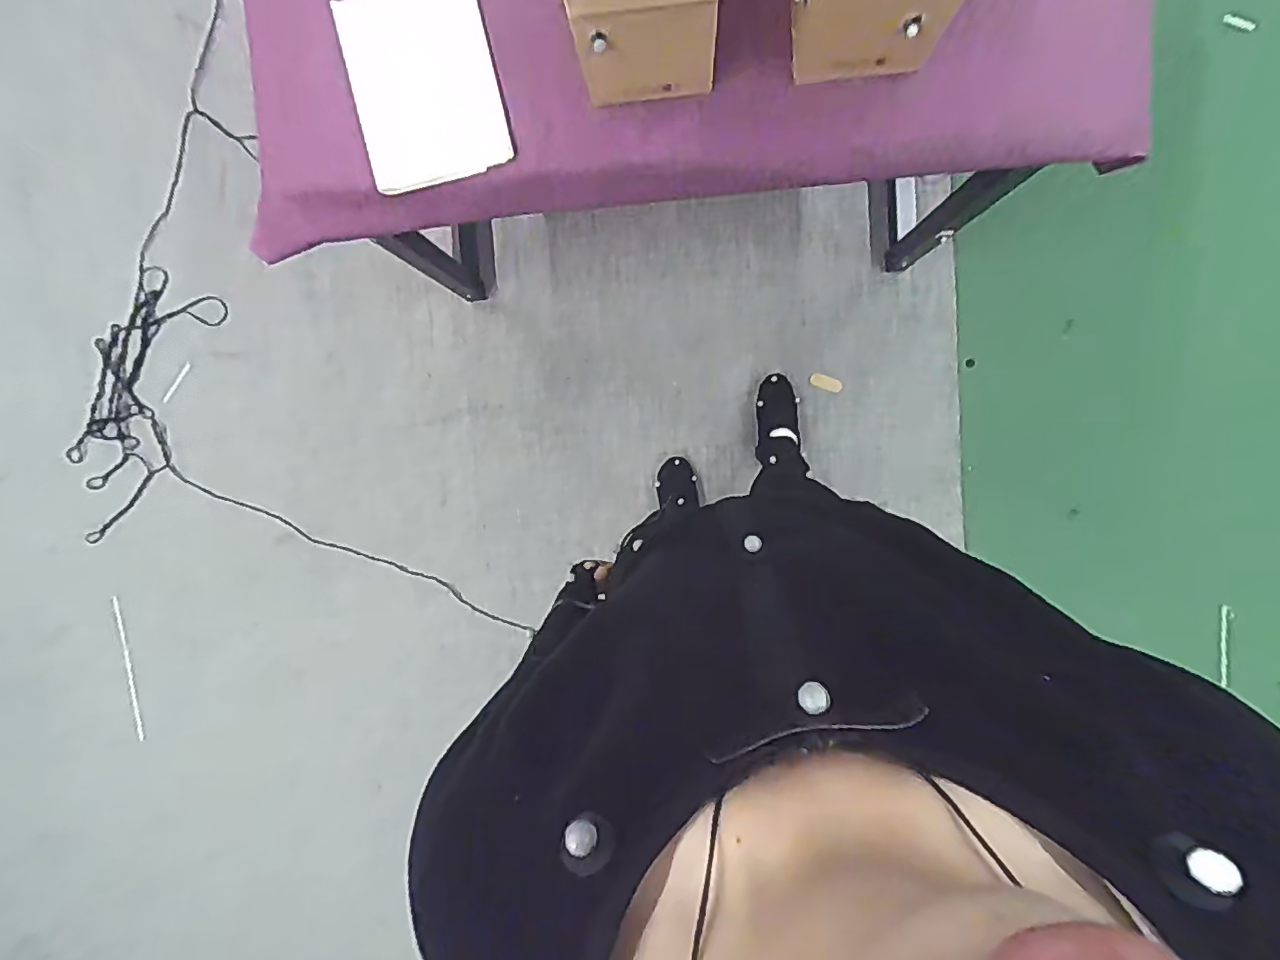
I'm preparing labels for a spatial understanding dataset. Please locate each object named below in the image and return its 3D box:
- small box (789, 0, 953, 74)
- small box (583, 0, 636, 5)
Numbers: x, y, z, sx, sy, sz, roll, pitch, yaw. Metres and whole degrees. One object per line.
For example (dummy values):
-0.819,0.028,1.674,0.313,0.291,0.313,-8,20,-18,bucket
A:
0.276,-0.616,0.635,0.168,0.176,0.179,-3,93,4,small box
-0.006,-0.584,0.493,0.168,0.176,0.179,-3,93,5,small box
